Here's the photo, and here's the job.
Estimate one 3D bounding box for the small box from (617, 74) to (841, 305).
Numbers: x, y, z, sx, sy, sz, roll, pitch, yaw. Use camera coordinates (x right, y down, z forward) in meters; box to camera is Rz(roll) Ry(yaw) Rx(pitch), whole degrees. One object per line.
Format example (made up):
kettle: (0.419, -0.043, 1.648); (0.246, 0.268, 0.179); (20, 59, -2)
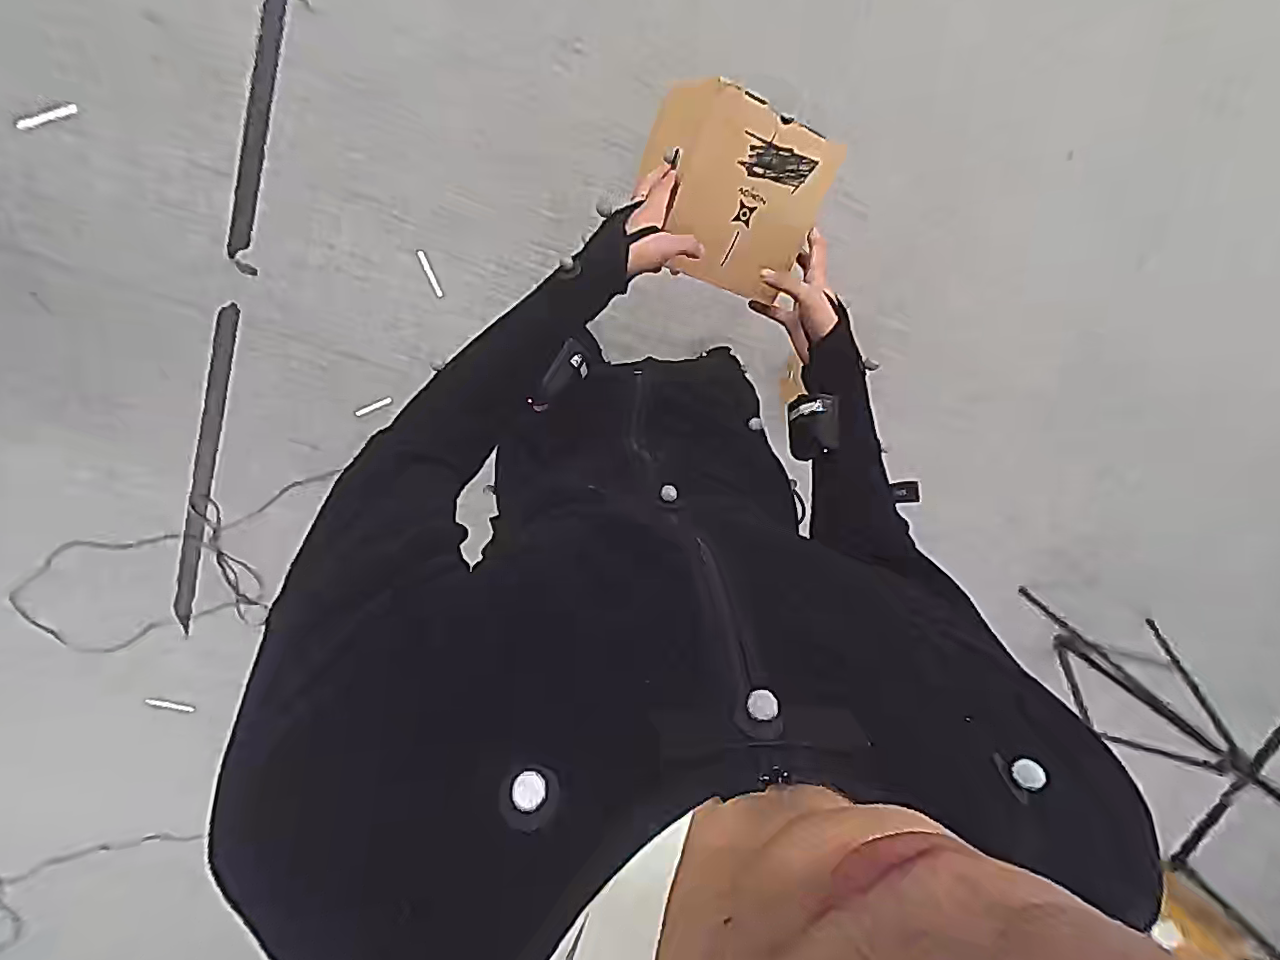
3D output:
small box: (0.087, -0.332, 0.629); (0.168, 0.176, 0.179); (10, 119, -24)

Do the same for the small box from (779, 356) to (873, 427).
small box: (0.525, -0.259, 1.549); (0.179, 0.176, 0.168); (6, 107, -9)
